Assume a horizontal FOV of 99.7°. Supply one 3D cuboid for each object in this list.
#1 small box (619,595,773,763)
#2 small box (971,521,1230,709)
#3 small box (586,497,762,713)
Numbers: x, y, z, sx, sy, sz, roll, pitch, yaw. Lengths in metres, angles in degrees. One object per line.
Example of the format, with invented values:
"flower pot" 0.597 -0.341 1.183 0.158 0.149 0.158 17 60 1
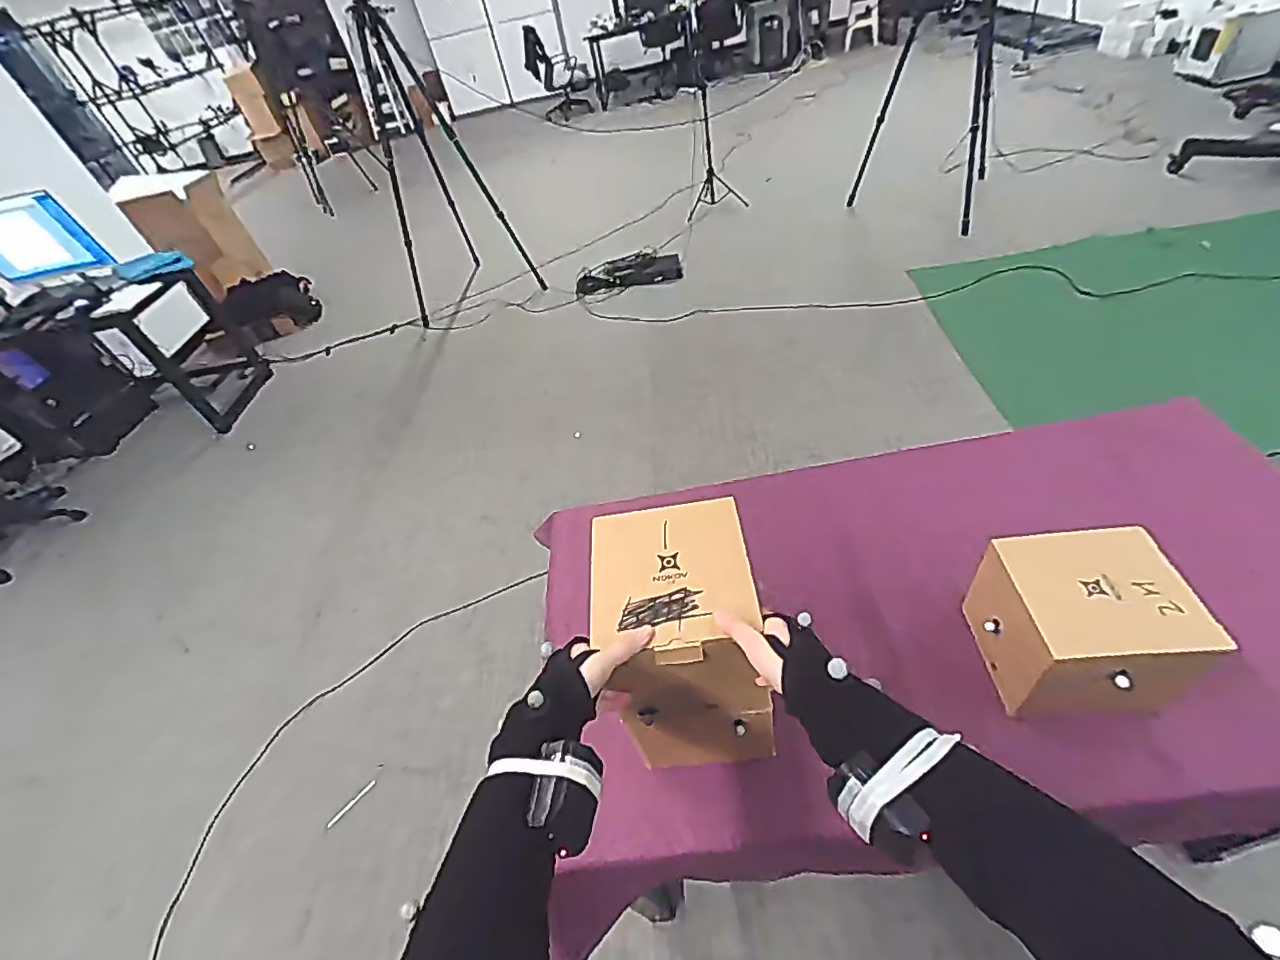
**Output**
"small box" 0.075 0.264 0.728 0.179 0.176 0.168 -9 45 6
"small box" 0.541 0.174 0.677 0.179 0.176 0.168 -7 46 10
"small box" 0.041 0.148 0.616 0.168 0.176 0.179 -10 44 6
